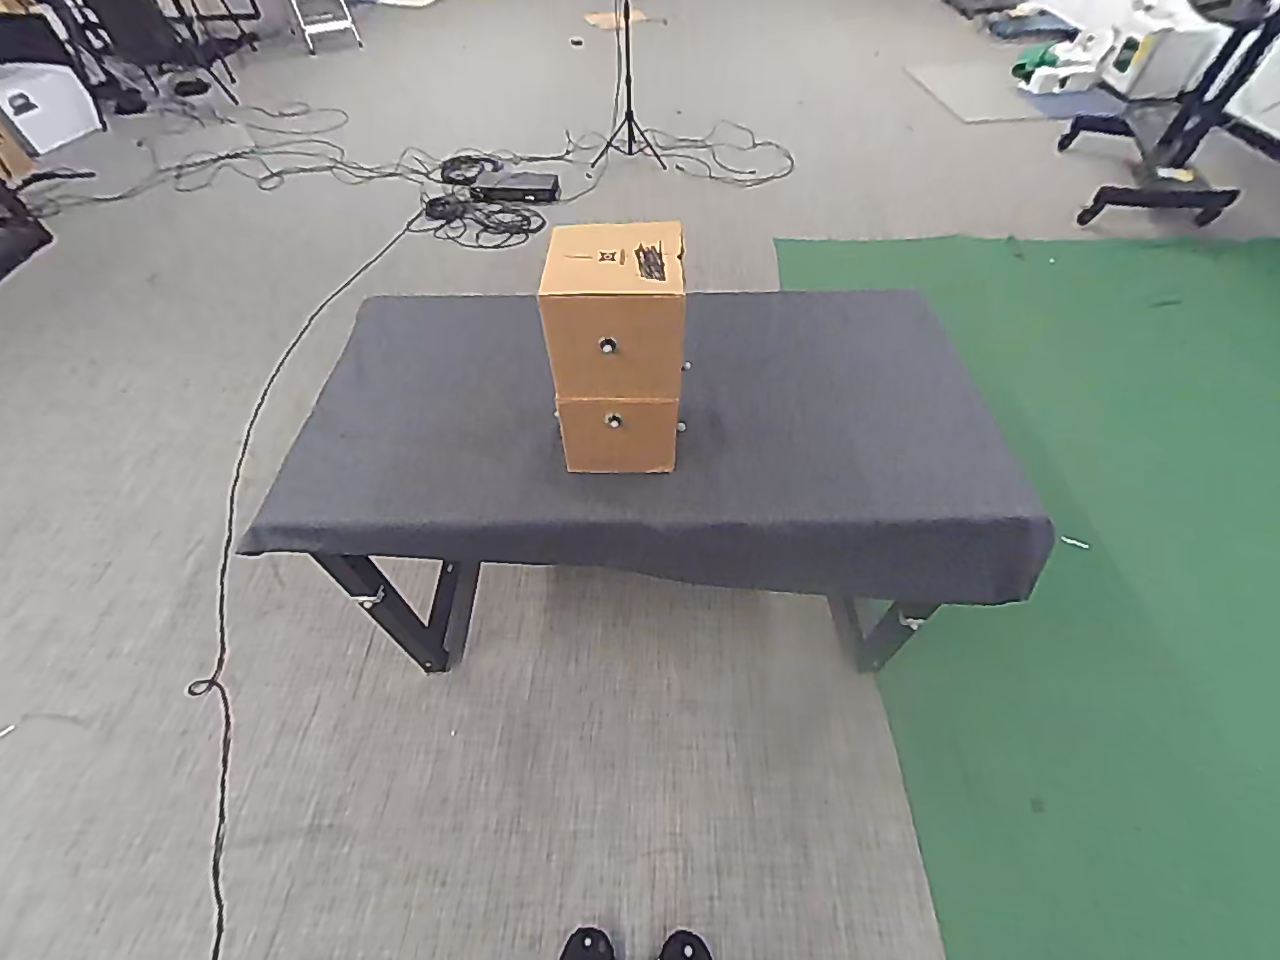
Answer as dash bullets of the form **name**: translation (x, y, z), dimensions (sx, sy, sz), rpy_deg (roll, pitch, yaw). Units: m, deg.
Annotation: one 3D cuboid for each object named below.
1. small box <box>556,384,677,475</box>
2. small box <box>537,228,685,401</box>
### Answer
- **small box**: translation (-0.031, -0.120, 0.873), dimensions (0.179, 0.176, 0.168), rpy_deg (1, 53, 0)
- **small box**: translation (-0.031, -0.222, 0.745), dimensions (0.179, 0.176, 0.168), rpy_deg (0, 53, 3)
